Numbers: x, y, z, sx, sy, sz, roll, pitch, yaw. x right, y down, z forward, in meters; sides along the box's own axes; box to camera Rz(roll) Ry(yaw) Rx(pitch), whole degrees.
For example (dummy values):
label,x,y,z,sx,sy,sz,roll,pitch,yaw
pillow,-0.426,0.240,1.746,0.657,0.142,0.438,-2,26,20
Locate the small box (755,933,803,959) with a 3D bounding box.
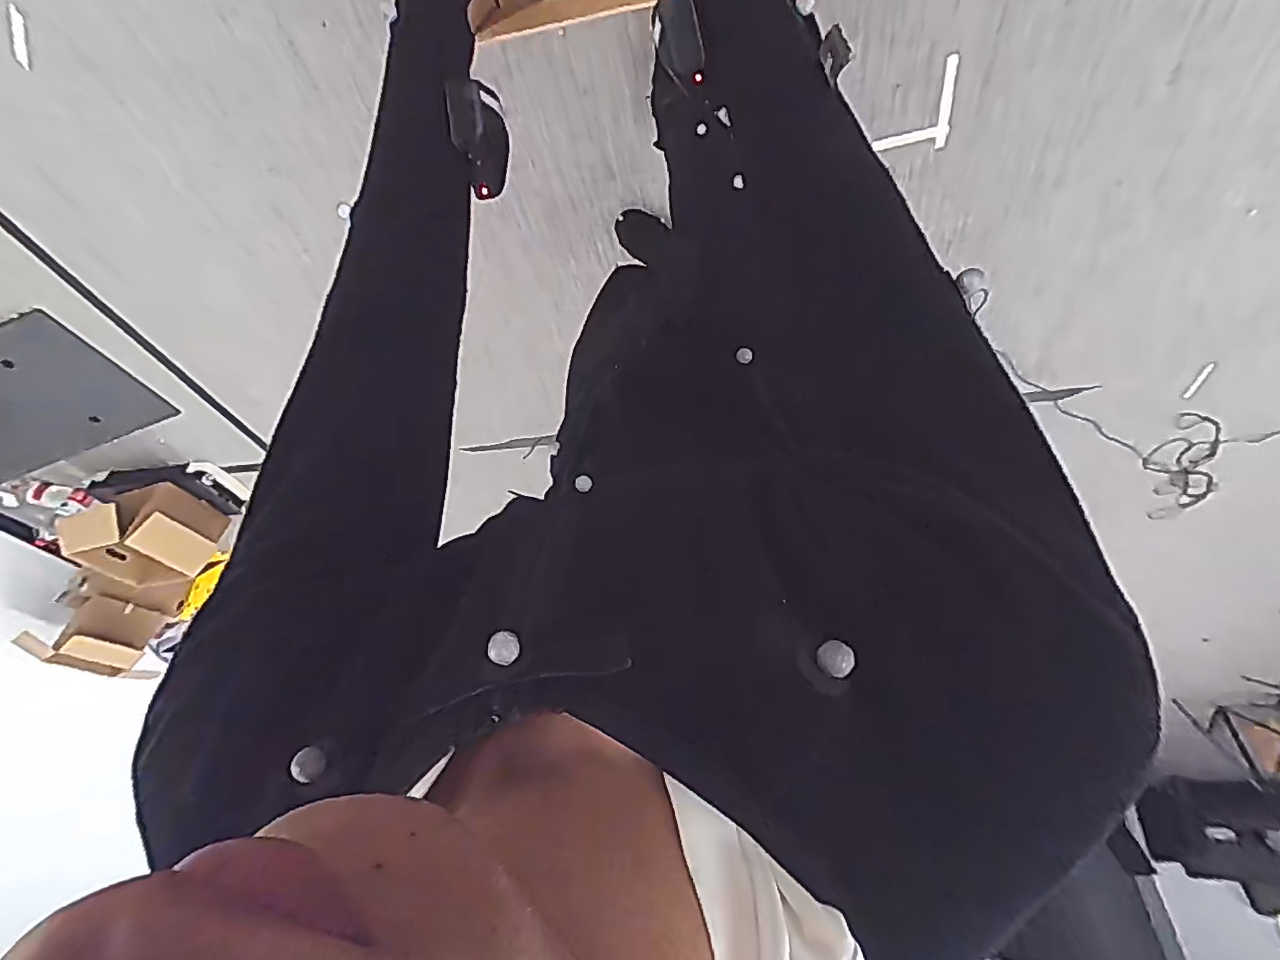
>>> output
label,x,y,z,sx,sy,sz,roll,pitch,yaw
small box,0.513,1.782,1.988,0.168,0.176,0.179,-4,143,11
